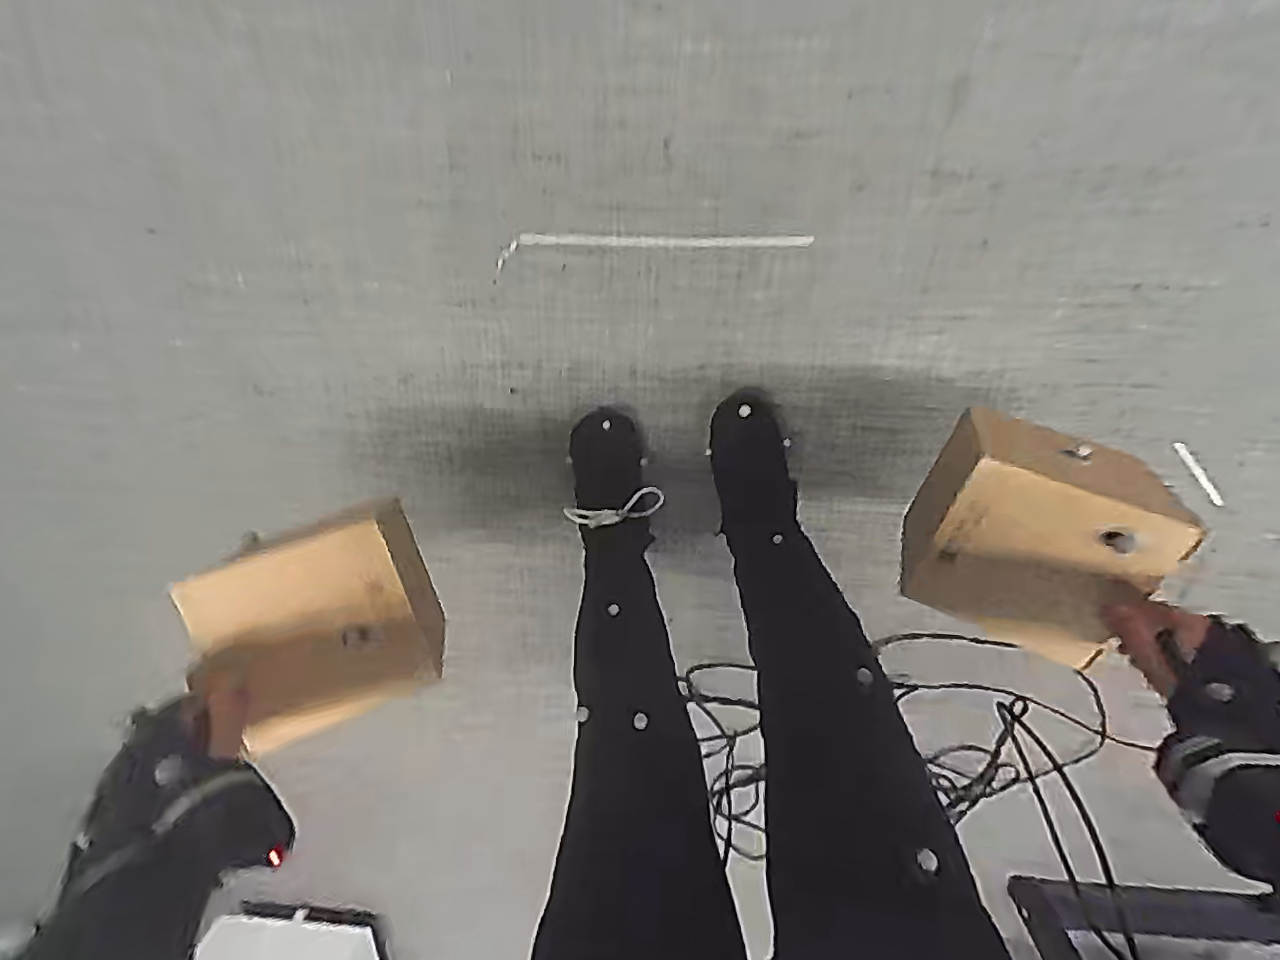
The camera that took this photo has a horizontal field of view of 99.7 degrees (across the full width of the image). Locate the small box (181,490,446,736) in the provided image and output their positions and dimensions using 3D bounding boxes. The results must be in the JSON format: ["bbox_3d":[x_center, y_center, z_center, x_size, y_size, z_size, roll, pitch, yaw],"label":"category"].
[{"bbox_3d":[-0.305,0.116,0.554,0.176,0.179,0.168,-19,100,-17],"label":"small box"}]
